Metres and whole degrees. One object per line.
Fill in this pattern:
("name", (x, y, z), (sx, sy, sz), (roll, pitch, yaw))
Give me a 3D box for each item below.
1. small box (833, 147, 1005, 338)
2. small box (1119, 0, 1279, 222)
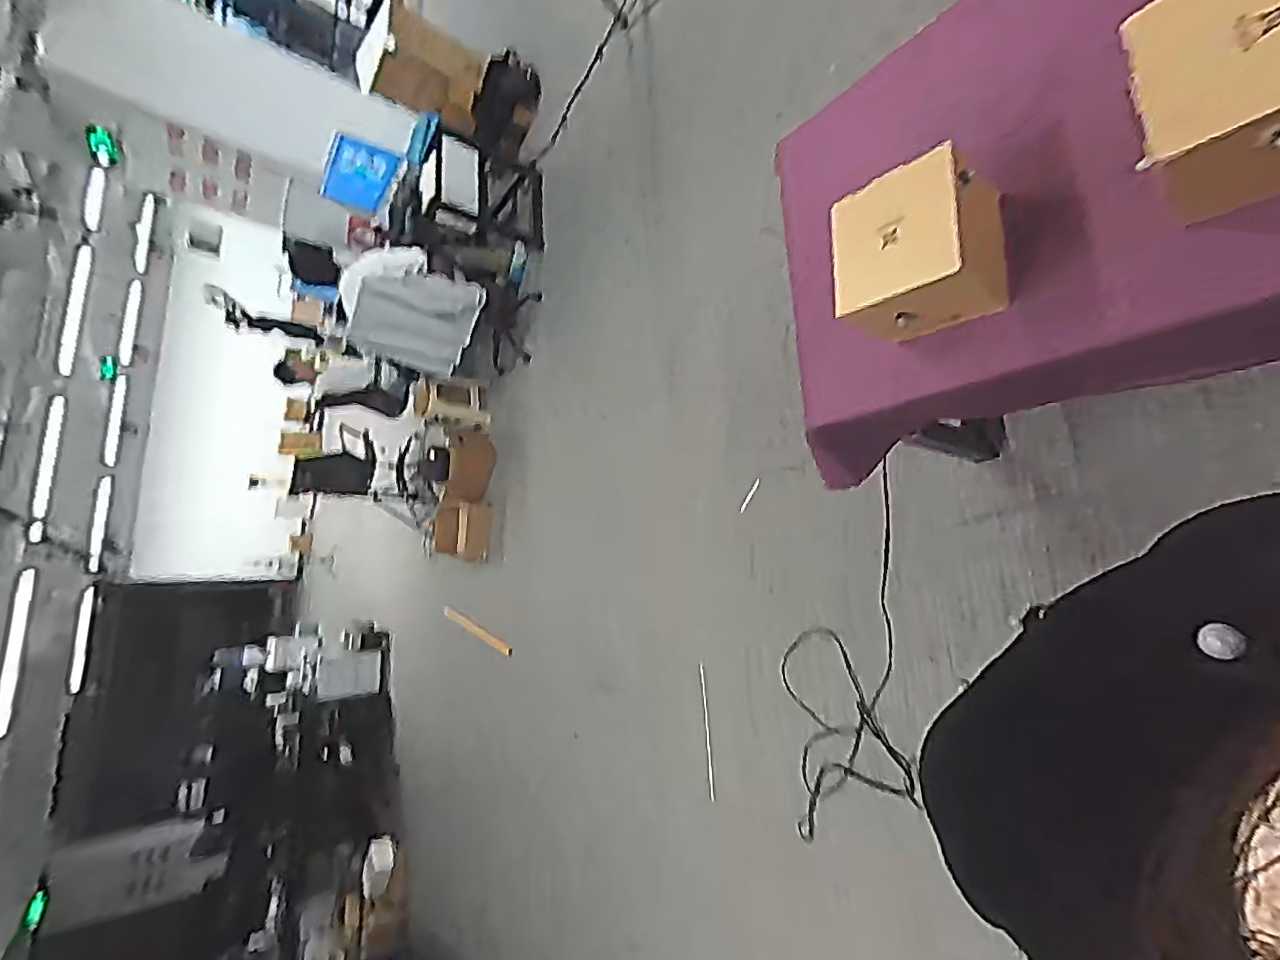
("small box", (0.400, -0.319, 0.776), (0.168, 0.176, 0.179), (-10, 75, 51))
("small box", (0.607, -0.388, 0.523), (0.179, 0.176, 0.168), (-13, 75, 50))
